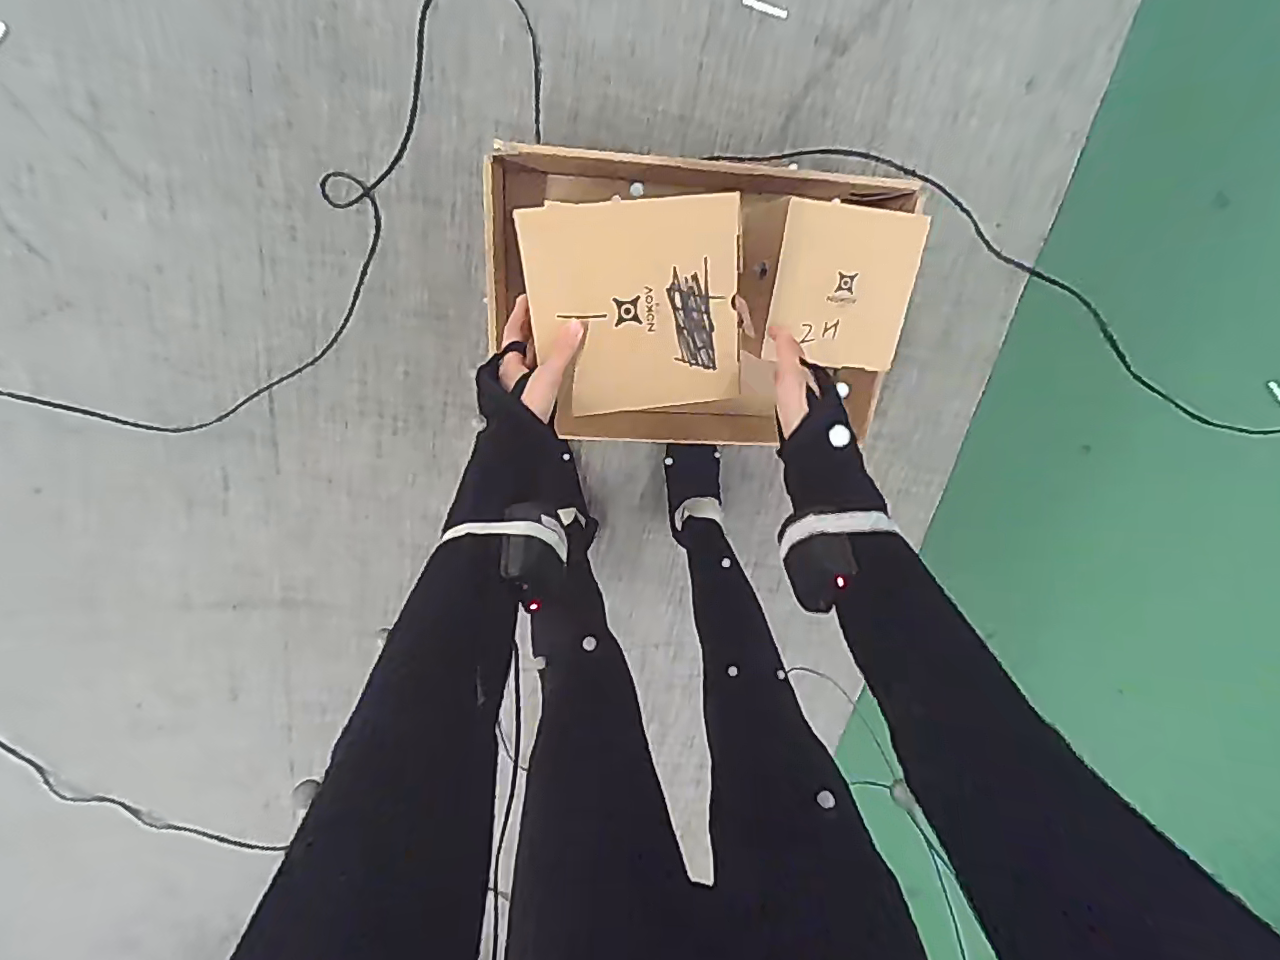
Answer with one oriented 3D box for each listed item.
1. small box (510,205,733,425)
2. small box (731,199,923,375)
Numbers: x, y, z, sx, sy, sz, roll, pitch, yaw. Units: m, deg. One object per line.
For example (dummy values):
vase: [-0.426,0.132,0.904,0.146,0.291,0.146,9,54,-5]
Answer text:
small box: [-0.020,-0.163,0.516,0.179,0.176,0.168,-8,114,-5]
small box: [0.216,-0.243,0.687,0.168,0.176,0.179,4,113,-7]
